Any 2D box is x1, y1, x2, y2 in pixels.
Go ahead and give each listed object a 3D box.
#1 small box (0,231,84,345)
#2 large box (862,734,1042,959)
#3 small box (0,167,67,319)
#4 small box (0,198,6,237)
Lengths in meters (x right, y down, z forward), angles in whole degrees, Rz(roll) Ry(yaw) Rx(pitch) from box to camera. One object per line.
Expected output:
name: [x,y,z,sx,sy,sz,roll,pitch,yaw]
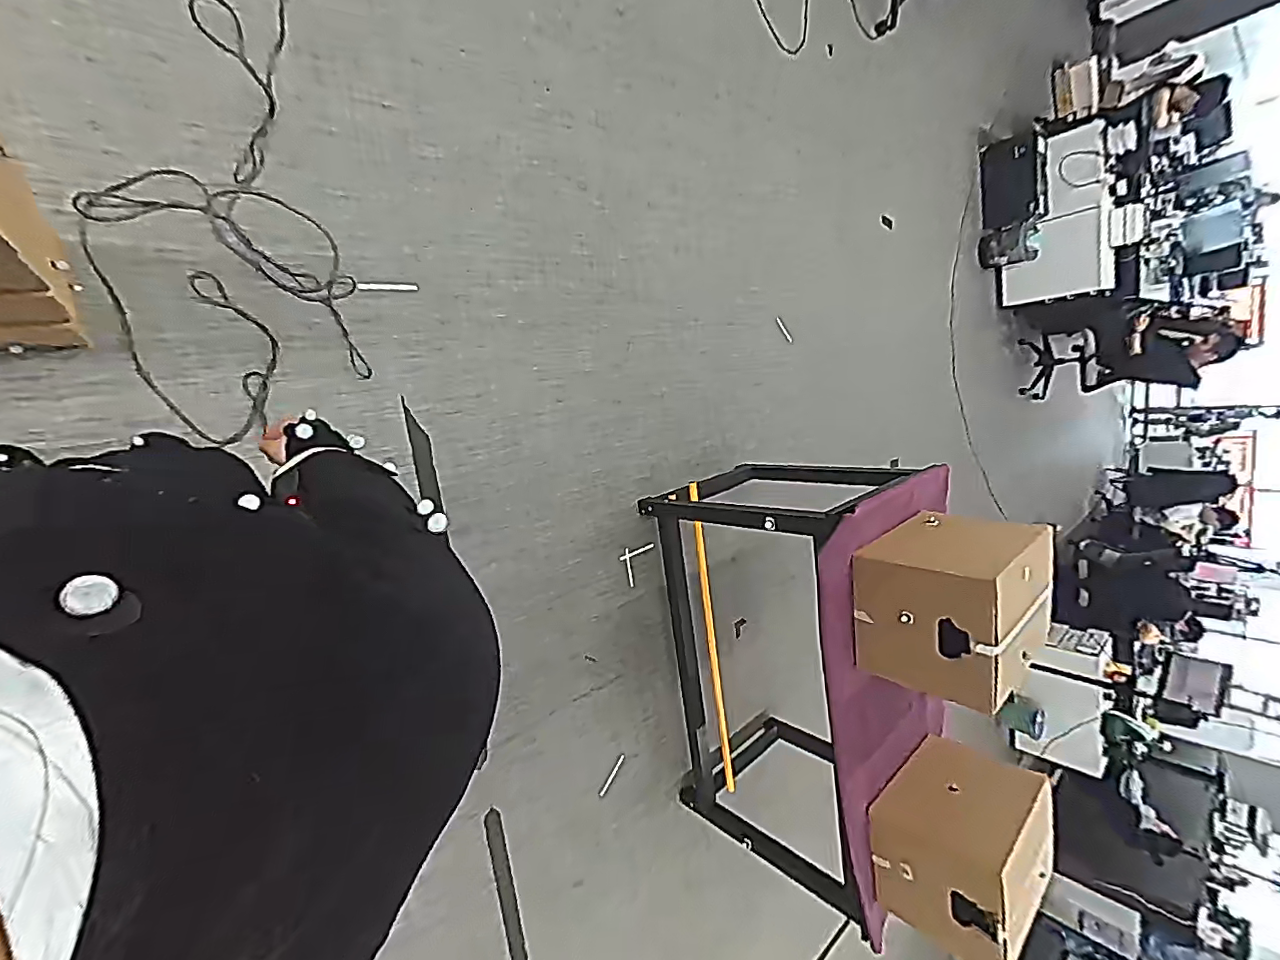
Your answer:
small box: [-1.026,-0.315,0.857,0.168,0.176,0.179,-14,102,-38]
large box: [0.849,0.980,1.468,0.408,0.320,0.320,-17,103,-40]
small box: [-0.923,-0.318,0.732,0.179,0.176,0.168,-14,101,-37]
small box: [-0.715,-0.315,0.475,0.179,0.176,0.168,-13,100,-38]
